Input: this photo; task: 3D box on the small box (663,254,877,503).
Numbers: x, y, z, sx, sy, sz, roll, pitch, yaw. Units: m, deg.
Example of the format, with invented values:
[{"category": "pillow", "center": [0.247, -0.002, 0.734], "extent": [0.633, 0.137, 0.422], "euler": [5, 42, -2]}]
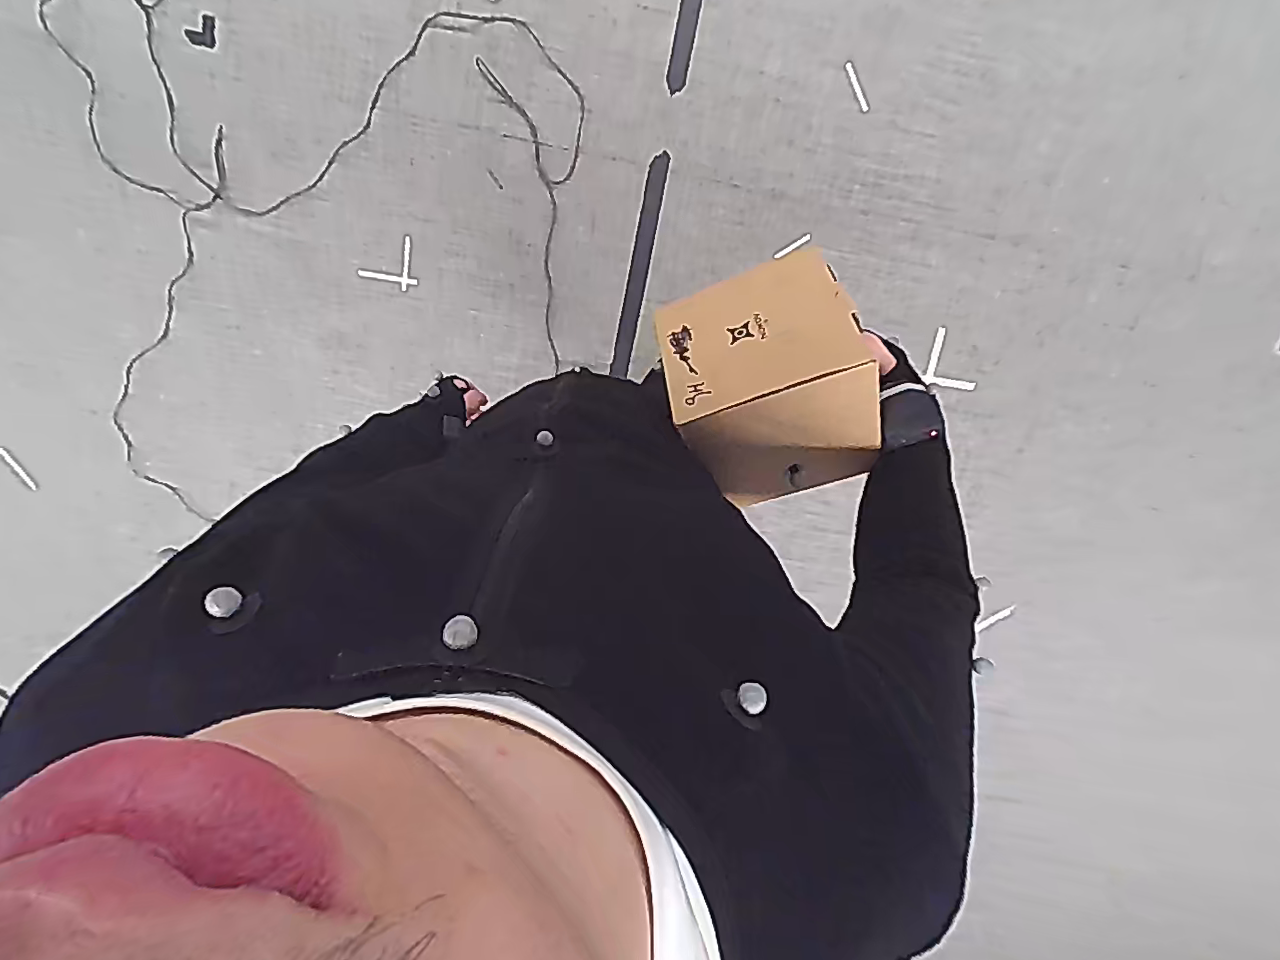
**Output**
[{"category": "small box", "center": [0.139, -0.099, 0.582], "extent": [0.179, 0.168, 0.176], "euler": [-17, 143, 14]}]
